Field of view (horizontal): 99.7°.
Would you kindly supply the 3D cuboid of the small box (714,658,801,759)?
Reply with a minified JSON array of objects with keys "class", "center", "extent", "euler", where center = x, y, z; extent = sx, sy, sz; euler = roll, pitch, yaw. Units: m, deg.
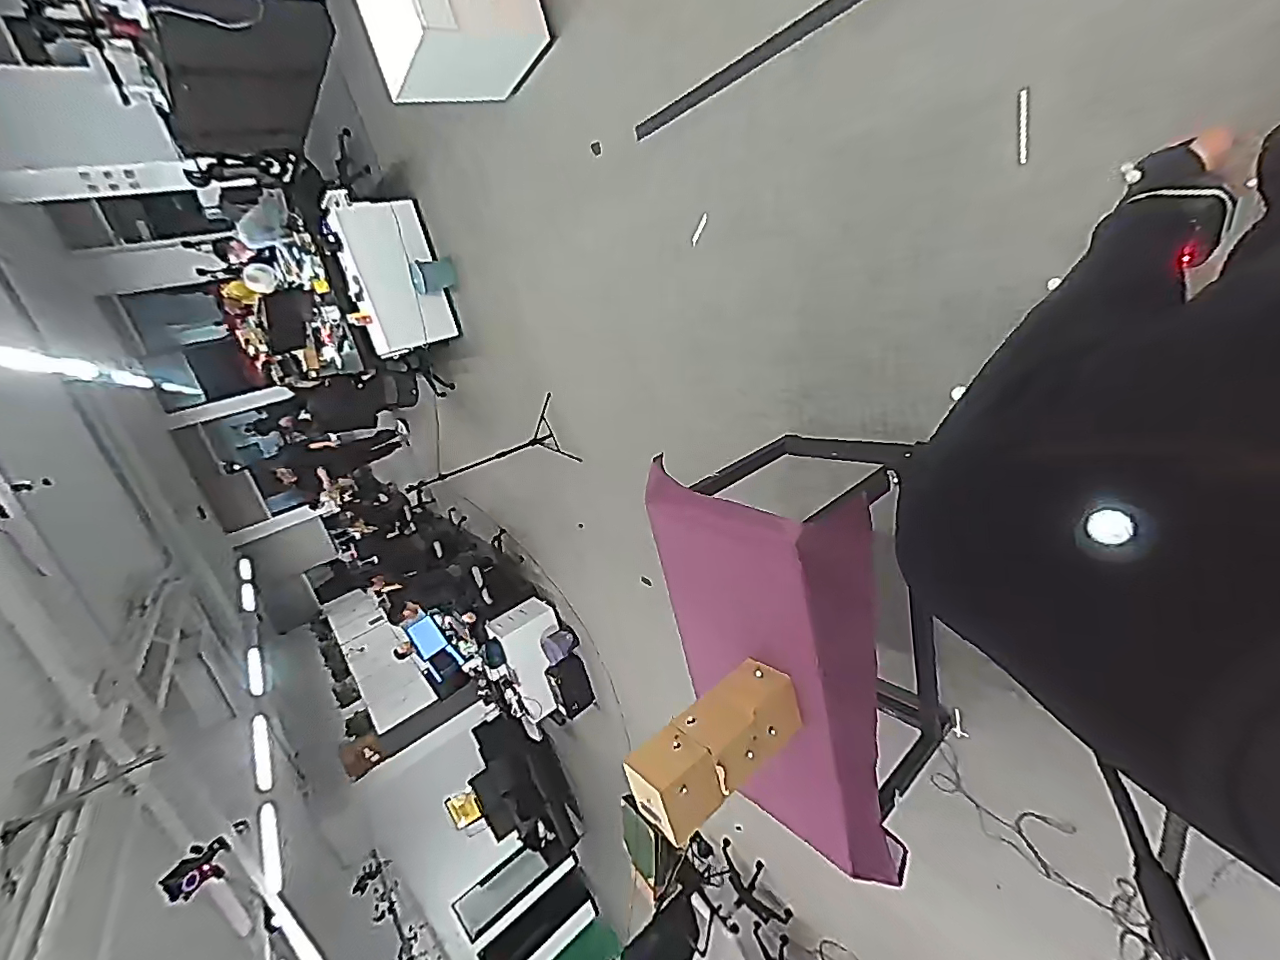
[{"class":"small box","center":[0.346,0.655,1.572],"extent":[0.168,0.176,0.179],"euler":[6,117,54]}]

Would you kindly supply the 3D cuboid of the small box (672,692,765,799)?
[{"class":"small box","center":[0.218,0.718,1.491],"extent":[0.179,0.176,0.168],"euler":[14,125,52]}]
